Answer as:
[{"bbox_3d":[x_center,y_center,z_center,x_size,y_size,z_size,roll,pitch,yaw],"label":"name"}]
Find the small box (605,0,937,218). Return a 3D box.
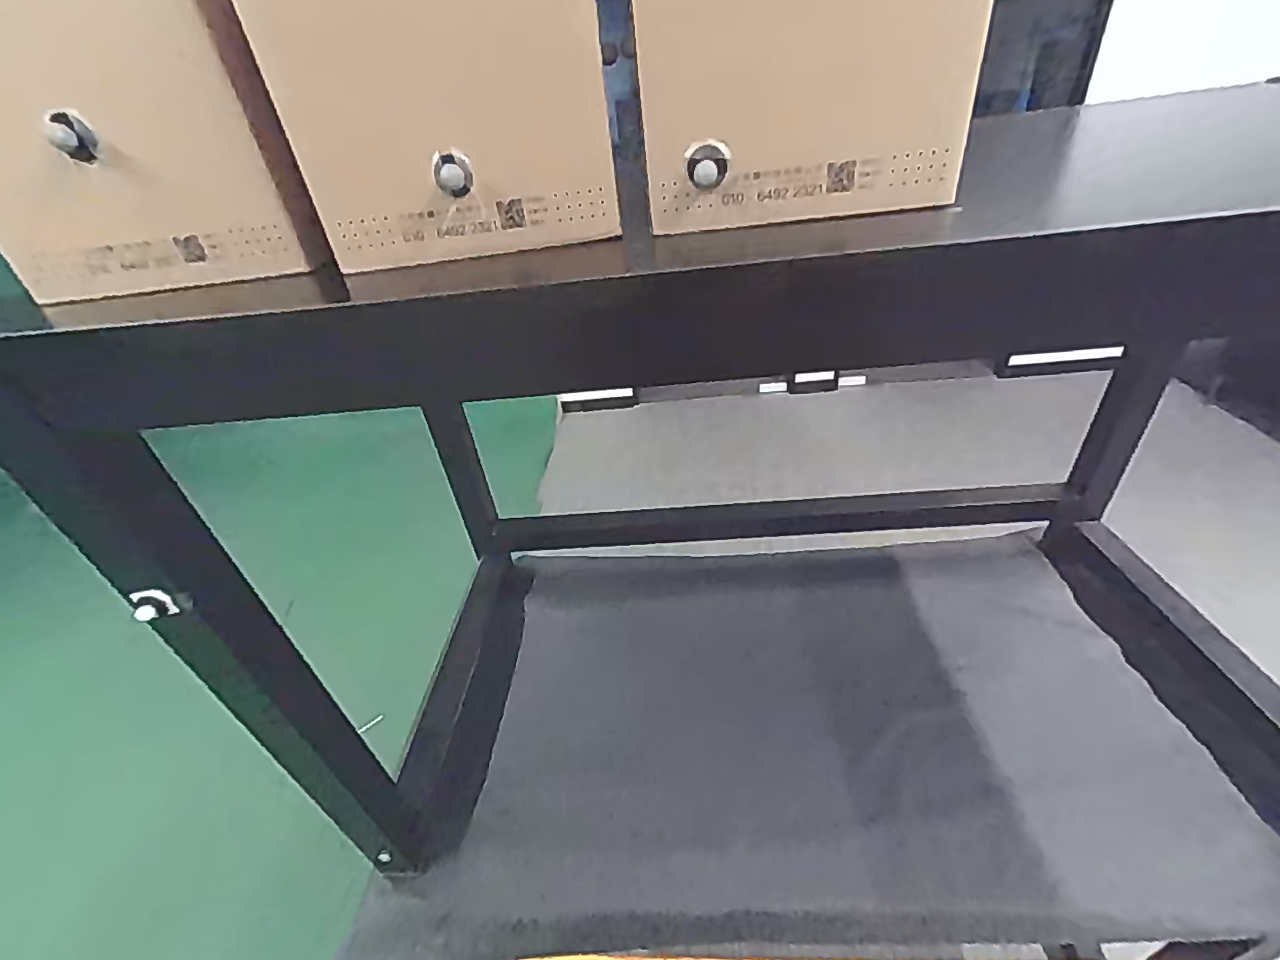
[{"bbox_3d":[0.073,-0.269,0.338,0.168,0.176,0.179,-3,33,7],"label":"small box"}]

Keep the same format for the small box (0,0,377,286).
[{"bbox_3d":[-0.307,-0.237,0.367,0.168,0.176,0.179,-7,33,-1],"label":"small box"}]
